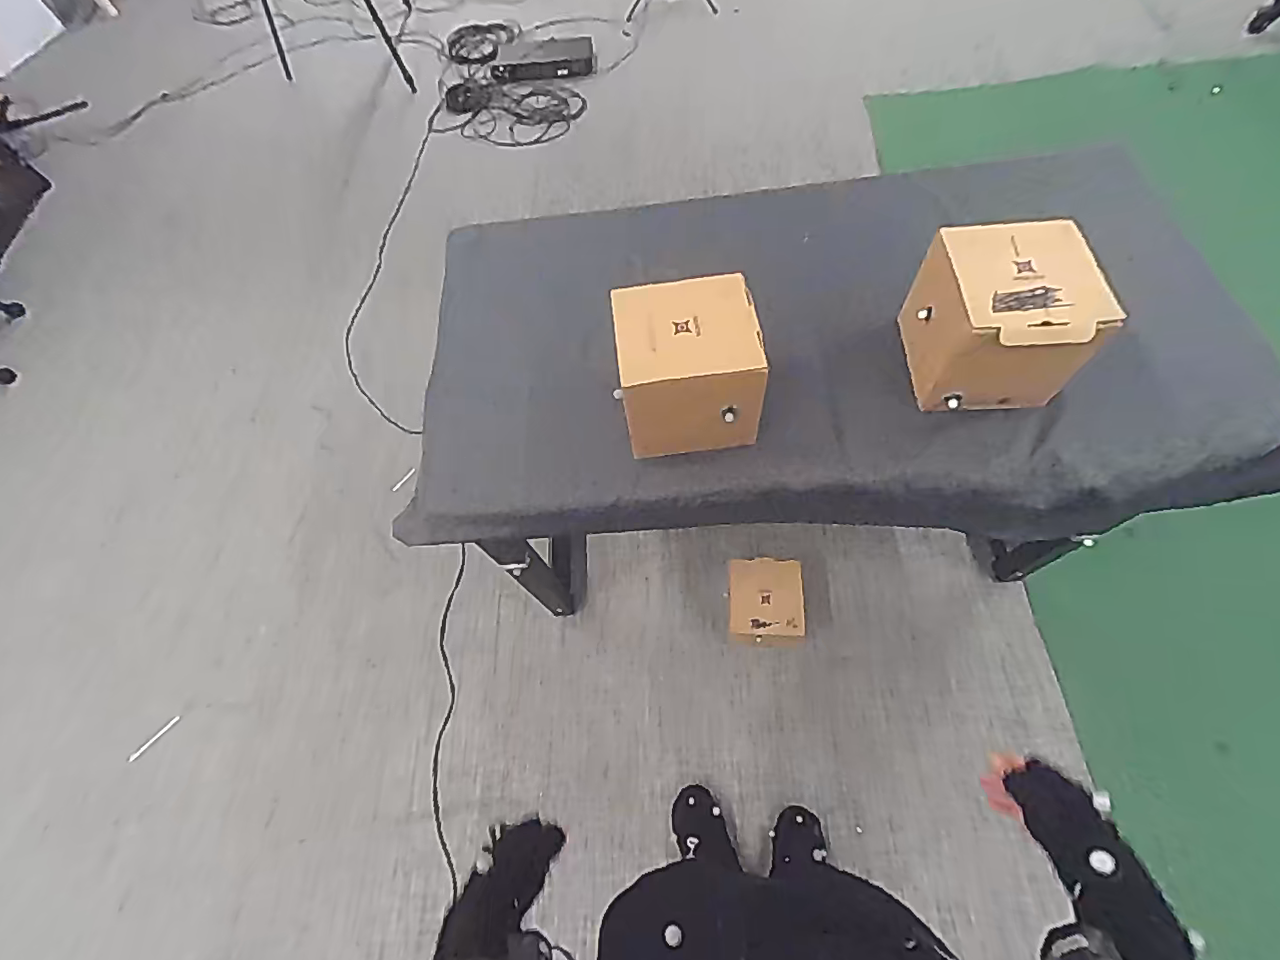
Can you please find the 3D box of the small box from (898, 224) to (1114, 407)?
[{"bbox_3d":[0.468,-0.210,0.727,0.168,0.176,0.179,-1,63,6],"label":"small box"}]

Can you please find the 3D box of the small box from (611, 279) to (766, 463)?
[{"bbox_3d":[0.062,-0.142,0.742,0.179,0.176,0.168,-9,60,3],"label":"small box"}]
